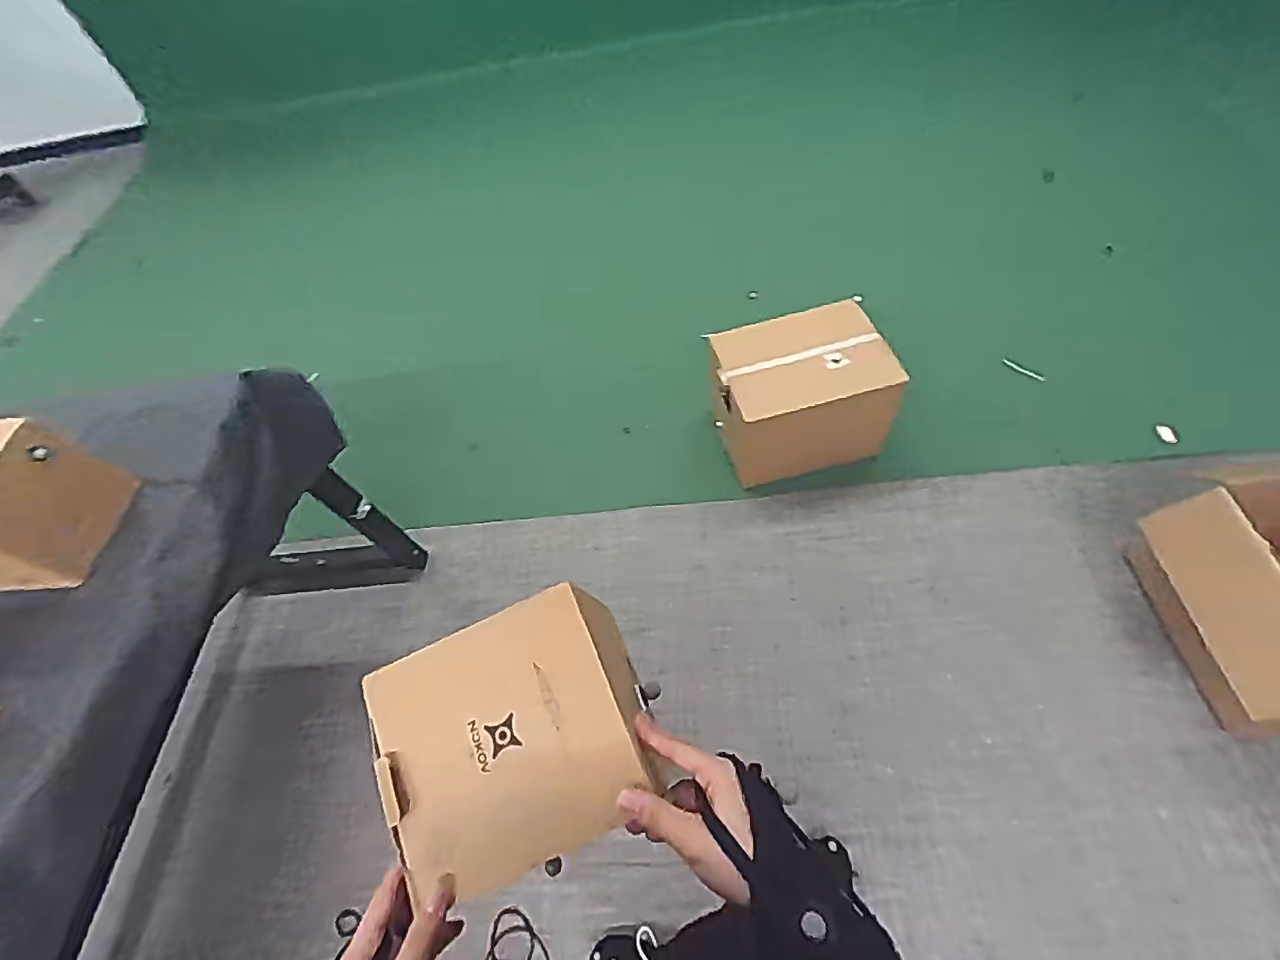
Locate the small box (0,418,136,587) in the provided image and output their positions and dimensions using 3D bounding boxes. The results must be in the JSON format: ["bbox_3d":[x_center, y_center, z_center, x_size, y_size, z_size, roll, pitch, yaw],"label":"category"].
[{"bbox_3d":[-0.860,0.040,0.736,0.168,0.176,0.179,-4,57,7],"label":"small box"}]
